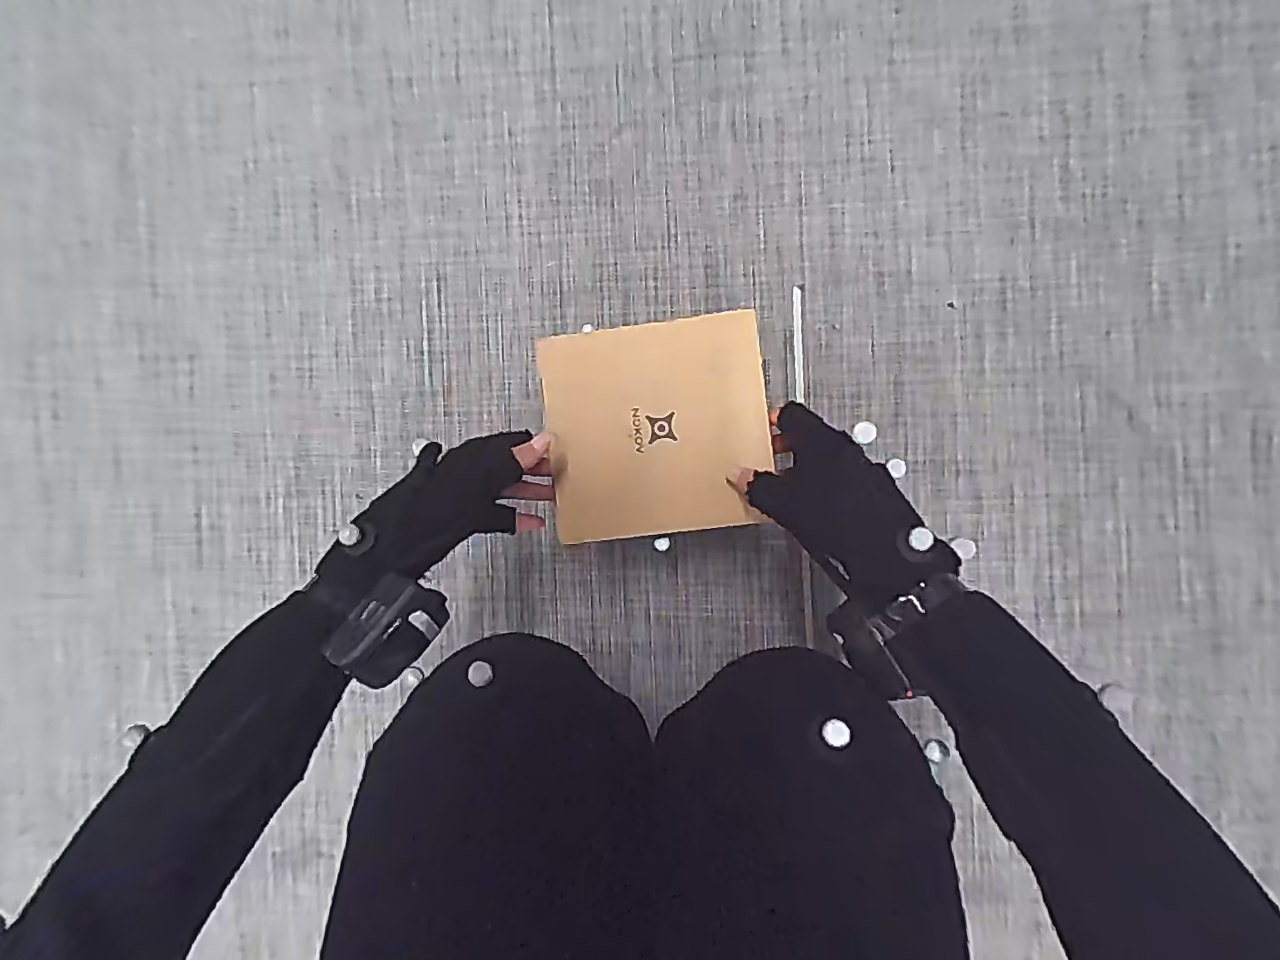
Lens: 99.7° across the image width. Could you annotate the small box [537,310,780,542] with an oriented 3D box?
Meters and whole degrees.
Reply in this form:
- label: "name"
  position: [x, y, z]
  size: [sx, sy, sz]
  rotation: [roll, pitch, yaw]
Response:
- label: "small box"
  position: [0.019, -0.041, 0.496]
  size: [0.179, 0.176, 0.168]
  rotation: [-7, 89, 5]
